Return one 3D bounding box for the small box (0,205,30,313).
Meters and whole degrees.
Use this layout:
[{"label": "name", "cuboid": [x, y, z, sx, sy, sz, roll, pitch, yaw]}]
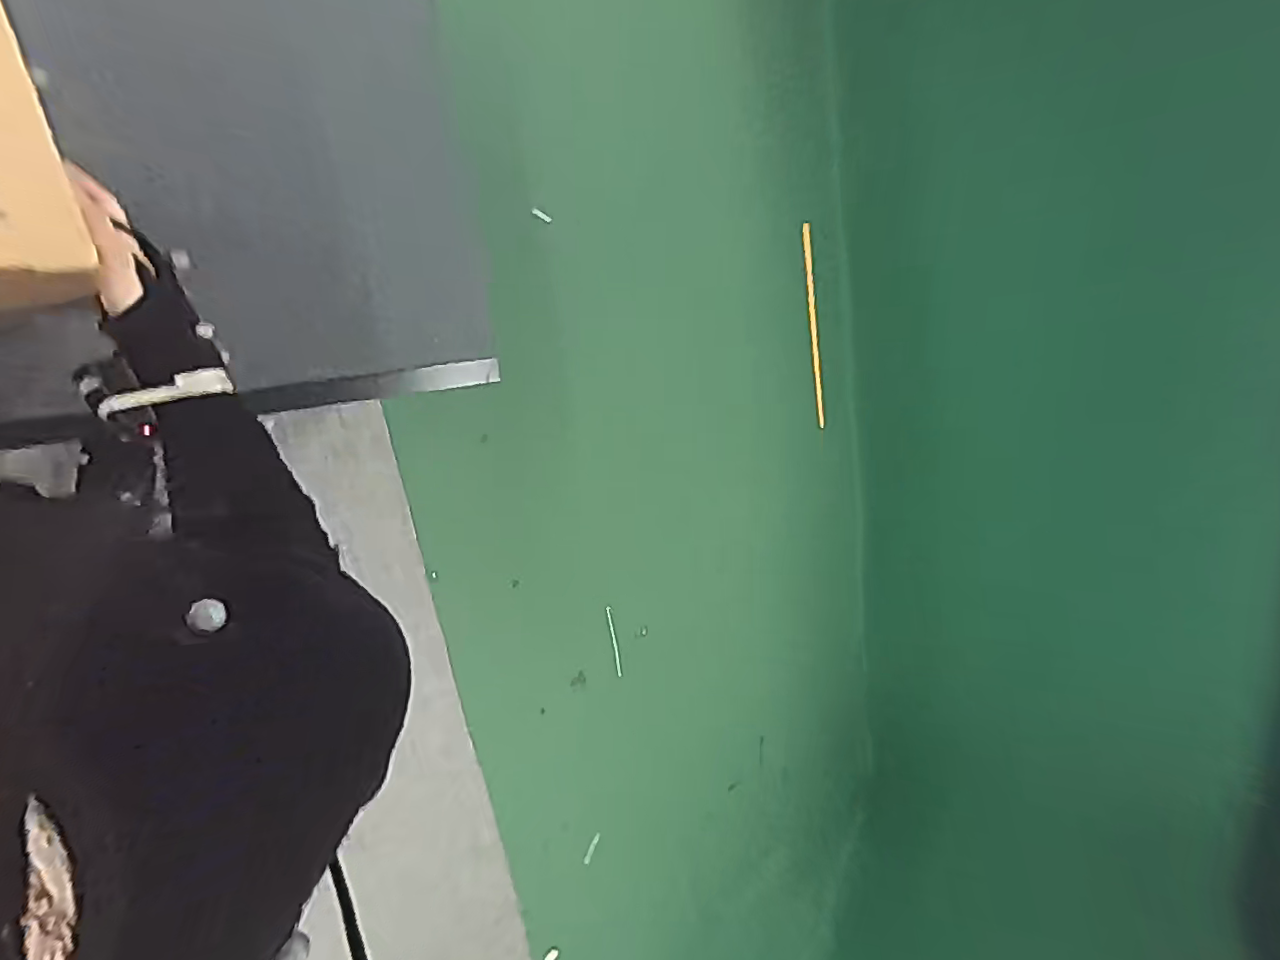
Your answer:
[{"label": "small box", "cuboid": [-0.598, -0.221, 0.393, 0.168, 0.176, 0.179, -25, 110, -44]}]
